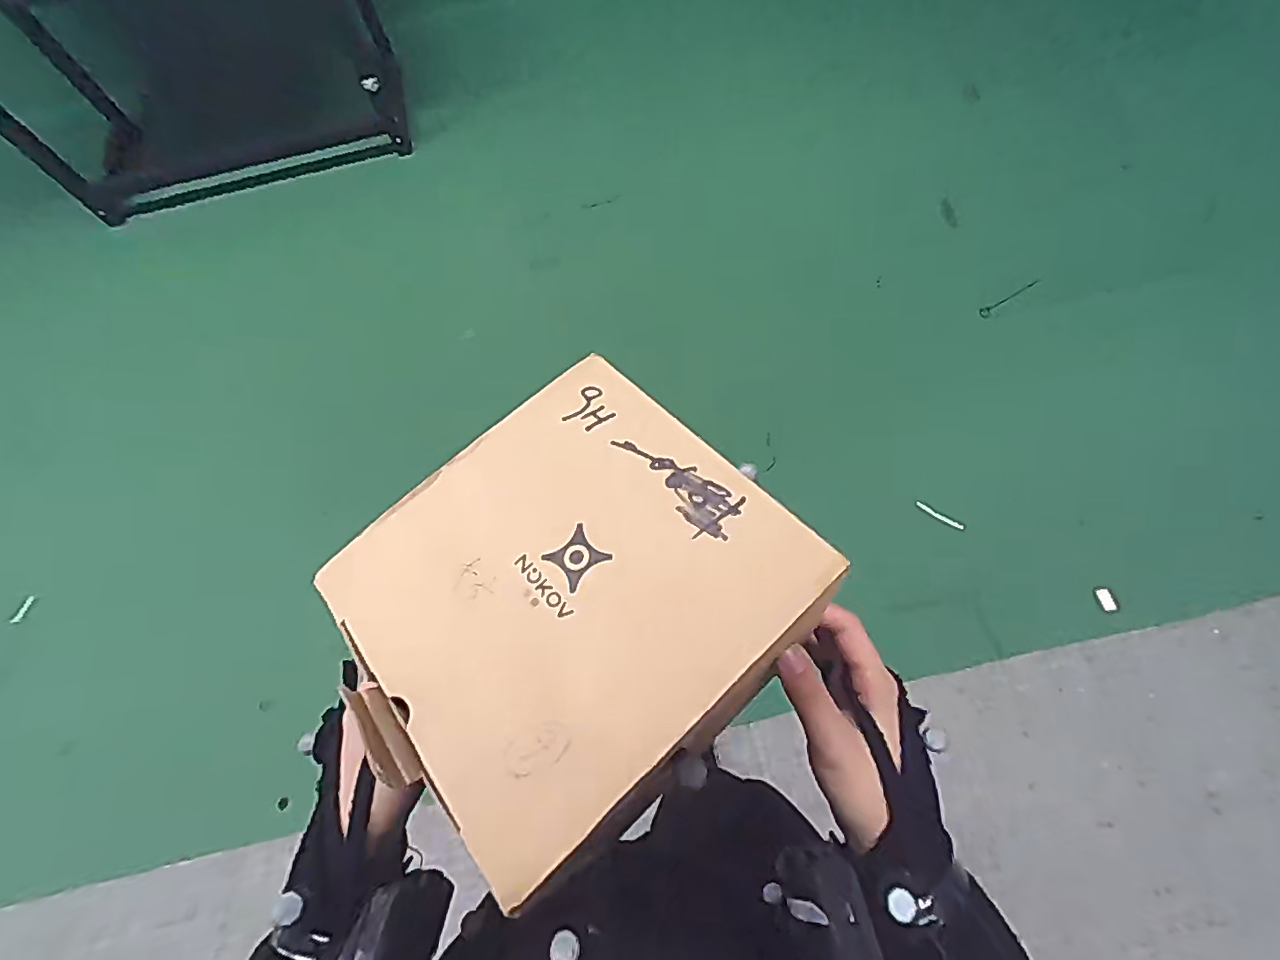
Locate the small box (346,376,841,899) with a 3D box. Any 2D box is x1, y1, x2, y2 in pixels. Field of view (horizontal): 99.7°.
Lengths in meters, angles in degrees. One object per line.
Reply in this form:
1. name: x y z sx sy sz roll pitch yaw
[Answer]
1. small box: -0.015 0.083 0.313 0.179 0.176 0.168 -42 64 -12
